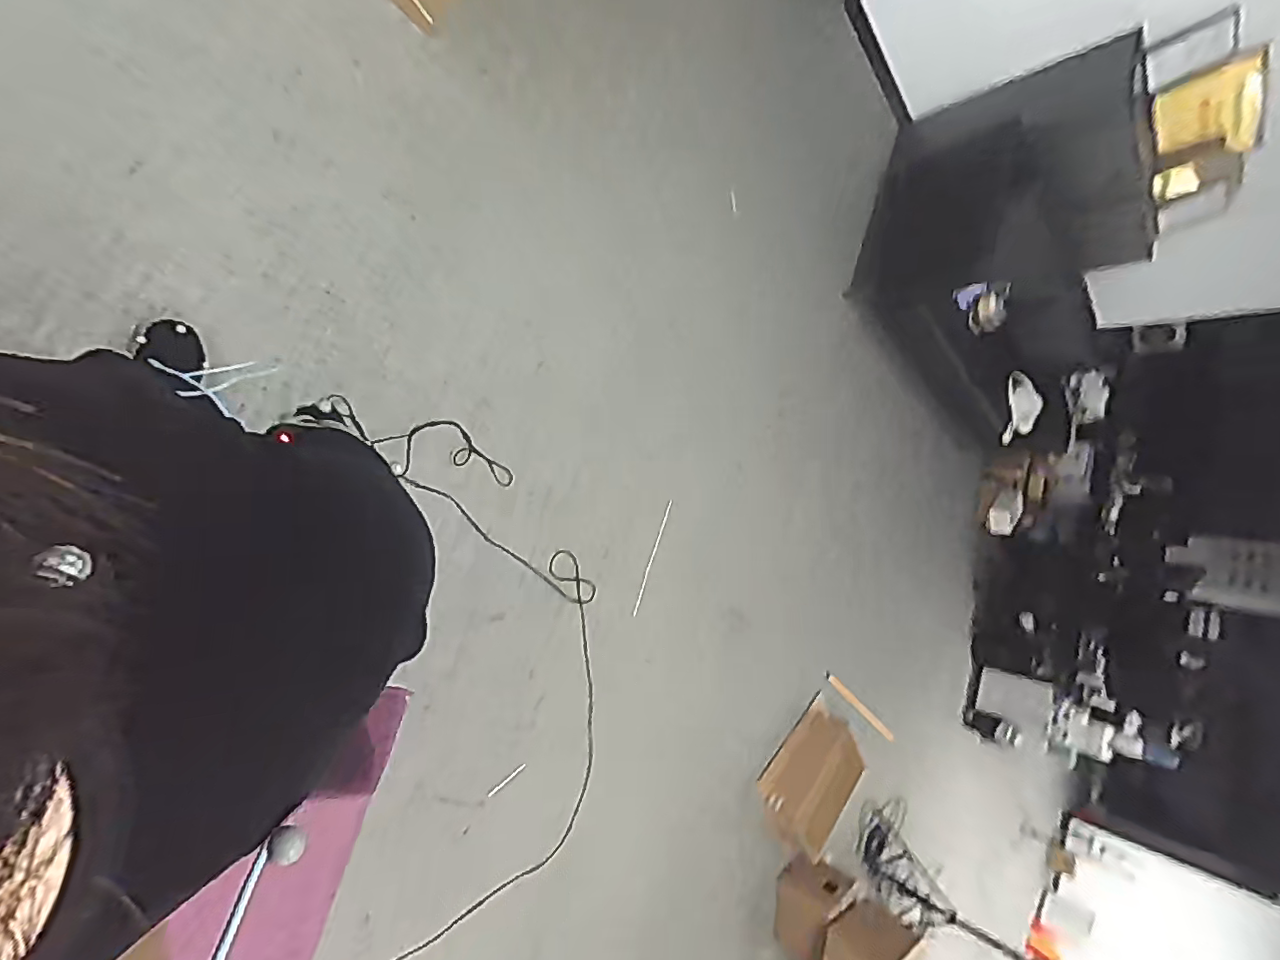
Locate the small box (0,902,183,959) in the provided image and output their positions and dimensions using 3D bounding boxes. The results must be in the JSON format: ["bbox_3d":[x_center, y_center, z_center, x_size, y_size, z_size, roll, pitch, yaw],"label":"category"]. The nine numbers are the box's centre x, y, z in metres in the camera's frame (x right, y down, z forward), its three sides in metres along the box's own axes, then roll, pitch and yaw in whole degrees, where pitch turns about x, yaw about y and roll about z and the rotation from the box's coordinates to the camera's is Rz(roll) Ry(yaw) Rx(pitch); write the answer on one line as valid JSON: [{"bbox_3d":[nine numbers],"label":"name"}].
[{"bbox_3d":[-0.565,0.557,0.515,0.168,0.176,0.179,27,76,-40],"label":"small box"}]
